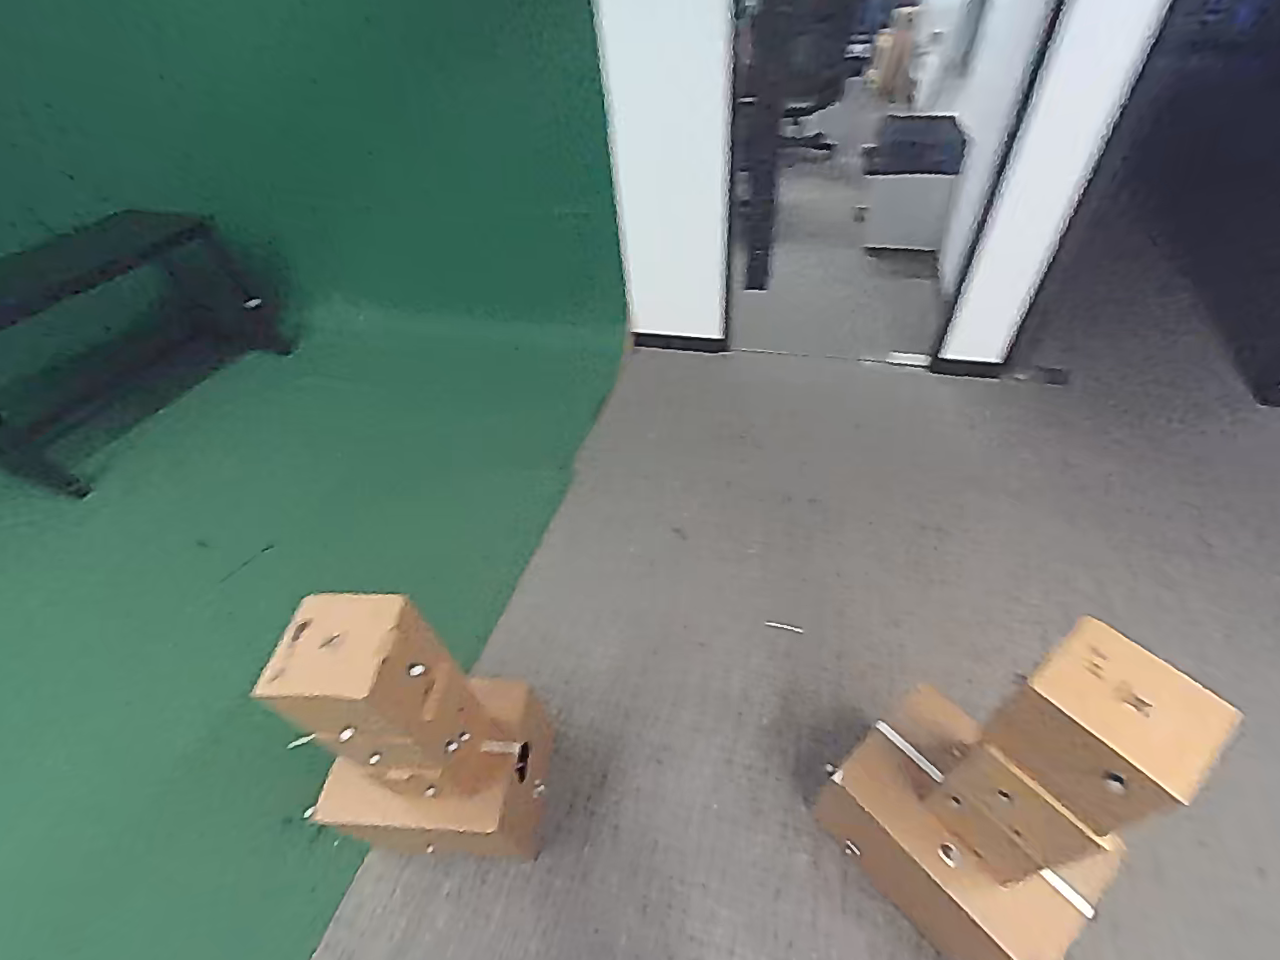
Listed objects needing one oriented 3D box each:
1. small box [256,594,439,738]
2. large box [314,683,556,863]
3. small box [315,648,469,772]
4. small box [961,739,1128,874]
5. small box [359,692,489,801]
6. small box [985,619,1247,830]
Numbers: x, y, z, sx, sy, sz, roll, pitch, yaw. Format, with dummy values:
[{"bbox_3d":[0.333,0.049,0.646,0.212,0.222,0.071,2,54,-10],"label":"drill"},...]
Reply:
[{"bbox_3d":[-0.452,0.302,0.874,0.179,0.176,0.168,1,45,5],"label":"small box"},{"bbox_3d":[-0.445,0.698,1.289,0.408,0.320,0.320,-2,44,7],"label":"large box"},{"bbox_3d":[-0.435,0.419,0.988,0.179,0.176,0.168,-1,46,6],"label":"small box"},{"bbox_3d":[0.627,0.454,0.826,0.179,0.176,0.168,-30,49,-24],"label":"small box"},{"bbox_3d":[-0.426,0.536,1.102,0.168,0.176,0.179,0,45,7],"label":"small box"},{"bbox_3d":[0.613,0.329,0.719,0.168,0.176,0.179,-28,49,-23],"label":"small box"}]
